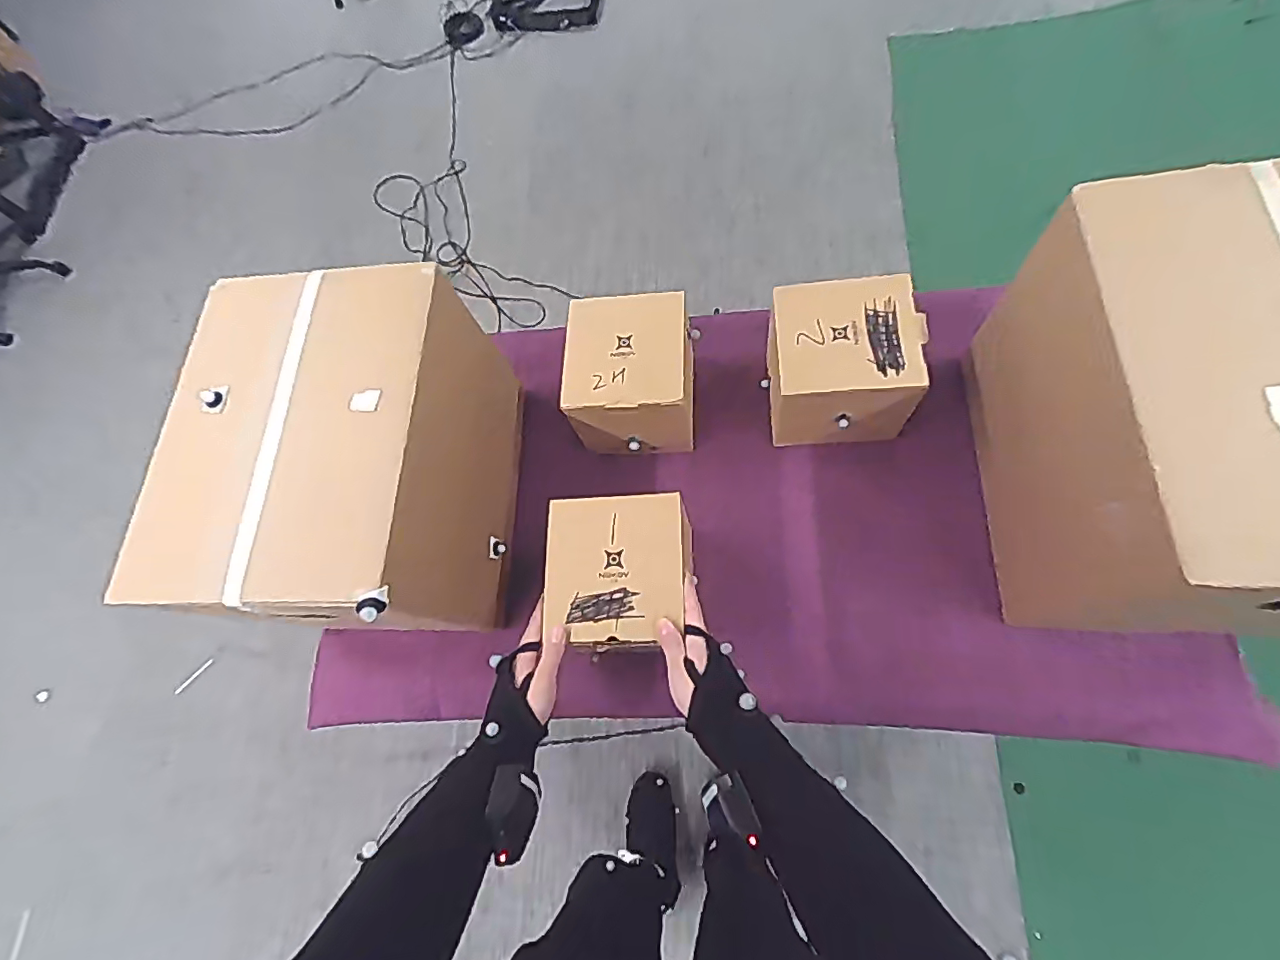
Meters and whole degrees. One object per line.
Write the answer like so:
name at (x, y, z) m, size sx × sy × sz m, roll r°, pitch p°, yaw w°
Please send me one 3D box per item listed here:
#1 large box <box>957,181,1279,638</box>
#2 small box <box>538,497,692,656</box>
large box at (0.595, -0.049, 0.590) m, size 0.320 × 0.320 × 0.408 m, roll -1°, pitch 70°, yaw 11°
small box at (-0.022, 0.134, 0.701) m, size 0.168 × 0.176 × 0.179 m, roll -3°, pitch 68°, yaw 8°
